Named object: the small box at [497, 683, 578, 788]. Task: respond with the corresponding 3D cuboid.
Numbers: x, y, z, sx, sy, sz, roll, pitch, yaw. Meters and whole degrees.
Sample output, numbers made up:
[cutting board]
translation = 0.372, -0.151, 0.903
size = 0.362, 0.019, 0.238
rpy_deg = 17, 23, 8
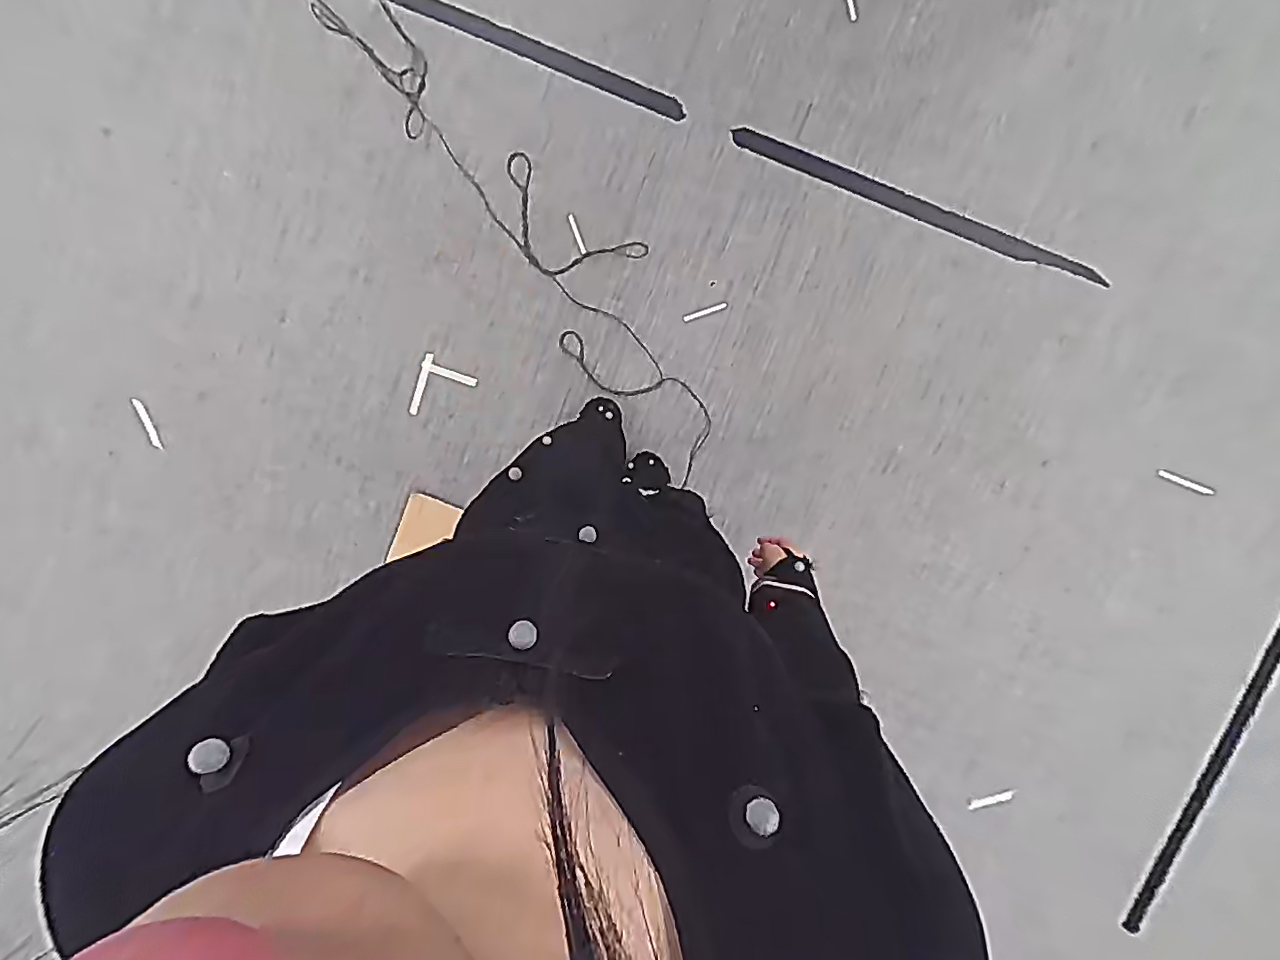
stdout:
[small box]
translation = -0.268, 0.679, 1.452
size = 0.168, 0.176, 0.179
rpy_deg = 12, 95, -1
